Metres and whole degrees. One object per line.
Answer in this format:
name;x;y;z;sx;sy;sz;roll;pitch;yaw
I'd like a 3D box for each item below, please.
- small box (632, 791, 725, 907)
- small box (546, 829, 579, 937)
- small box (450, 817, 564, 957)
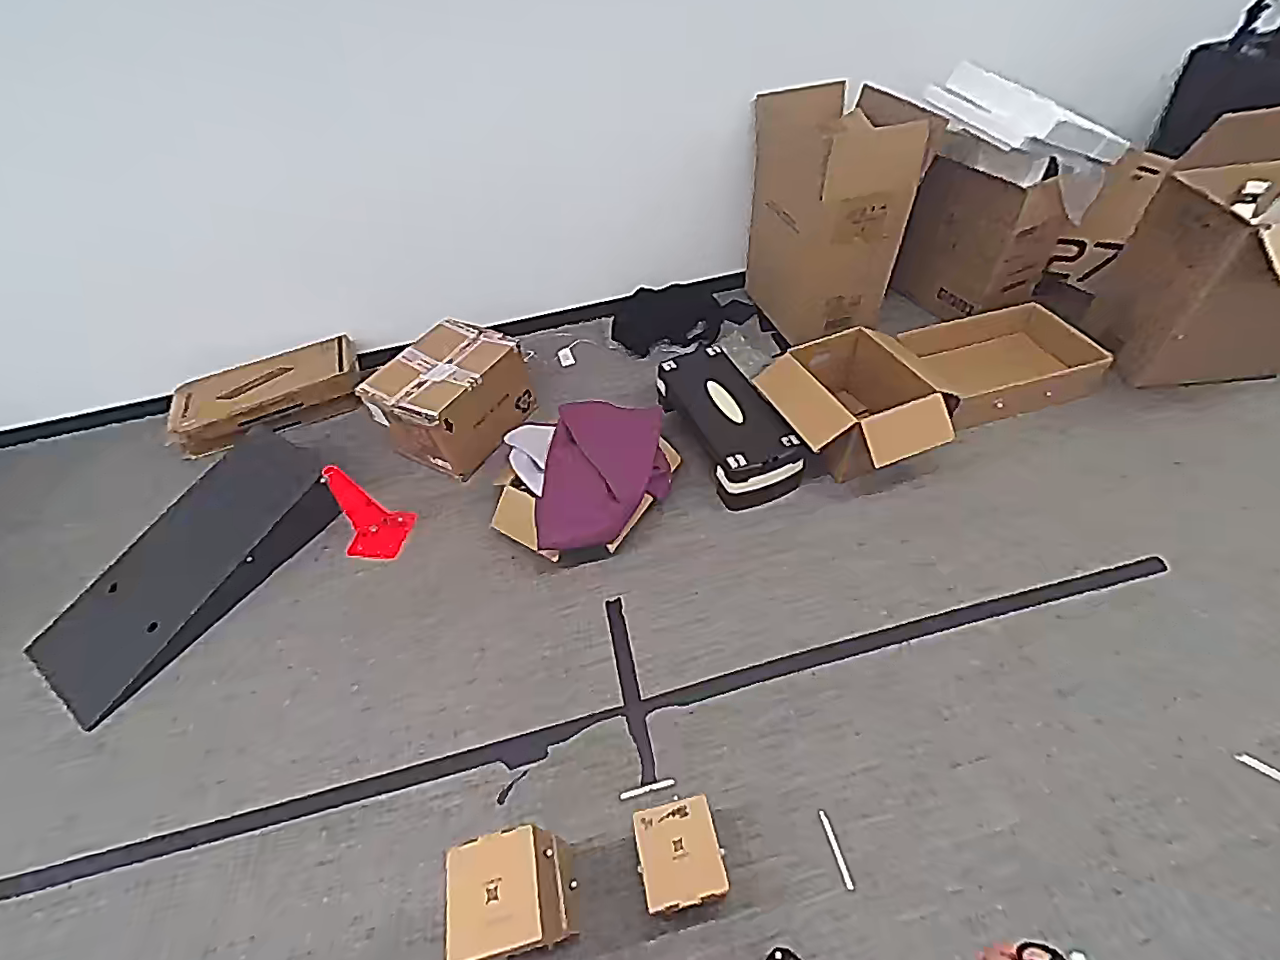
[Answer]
small box;0.085;0.806;1.180;0.168;0.176;0.179;-12;50;-3
small box;-0.235;0.876;1.159;0.179;0.176;0.168;-15;49;-5
small box;-0.252;0.776;1.032;0.168;0.176;0.179;-15;51;-4
